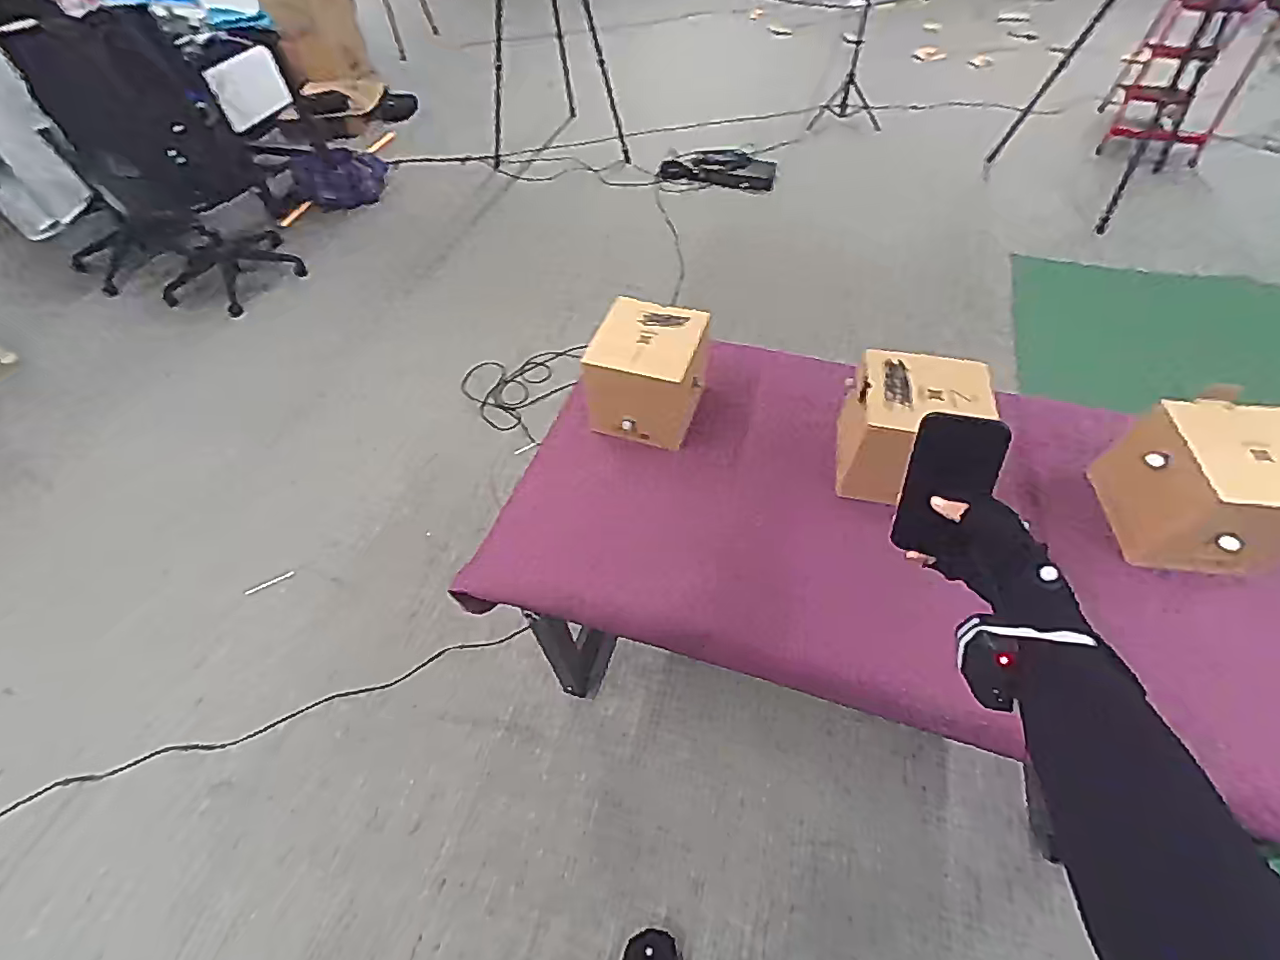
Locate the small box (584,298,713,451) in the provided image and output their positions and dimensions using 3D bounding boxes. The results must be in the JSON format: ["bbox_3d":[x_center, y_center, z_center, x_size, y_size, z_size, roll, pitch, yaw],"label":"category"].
[{"bbox_3d":[0.019,-0.180,0.931,0.168,0.176,0.179,15,57,14],"label":"small box"}]

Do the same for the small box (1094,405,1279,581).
[{"bbox_3d":[0.786,0.021,0.744,0.168,0.176,0.179,5,52,7],"label":"small box"}]
